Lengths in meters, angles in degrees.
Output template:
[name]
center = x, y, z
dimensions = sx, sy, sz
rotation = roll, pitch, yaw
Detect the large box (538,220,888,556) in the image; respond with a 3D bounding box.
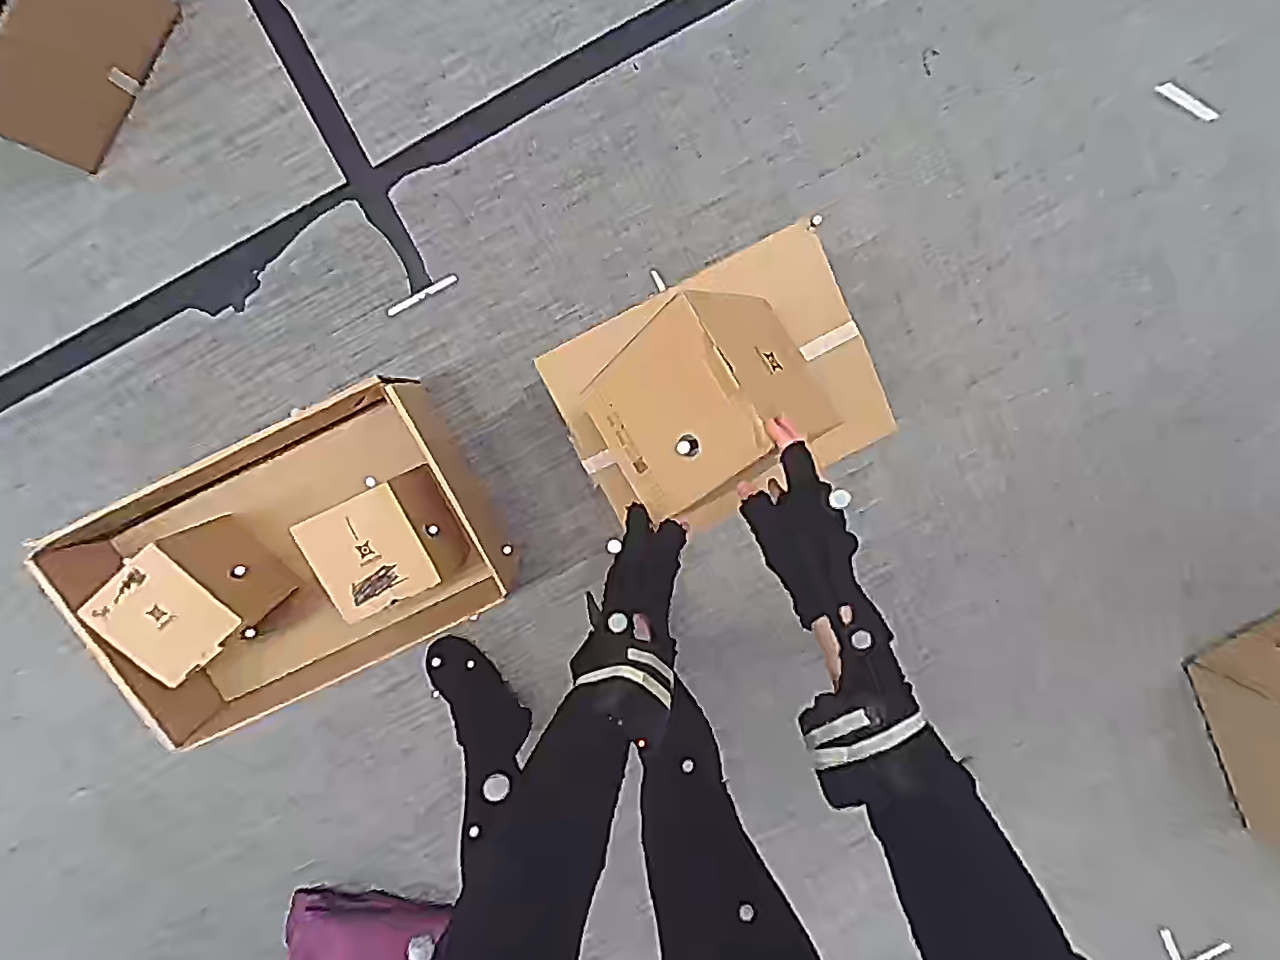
[large box]
center = 0.094, -0.137, 0.879
dimensions = 0.408, 0.320, 0.320
rotation = -28, 101, 0
